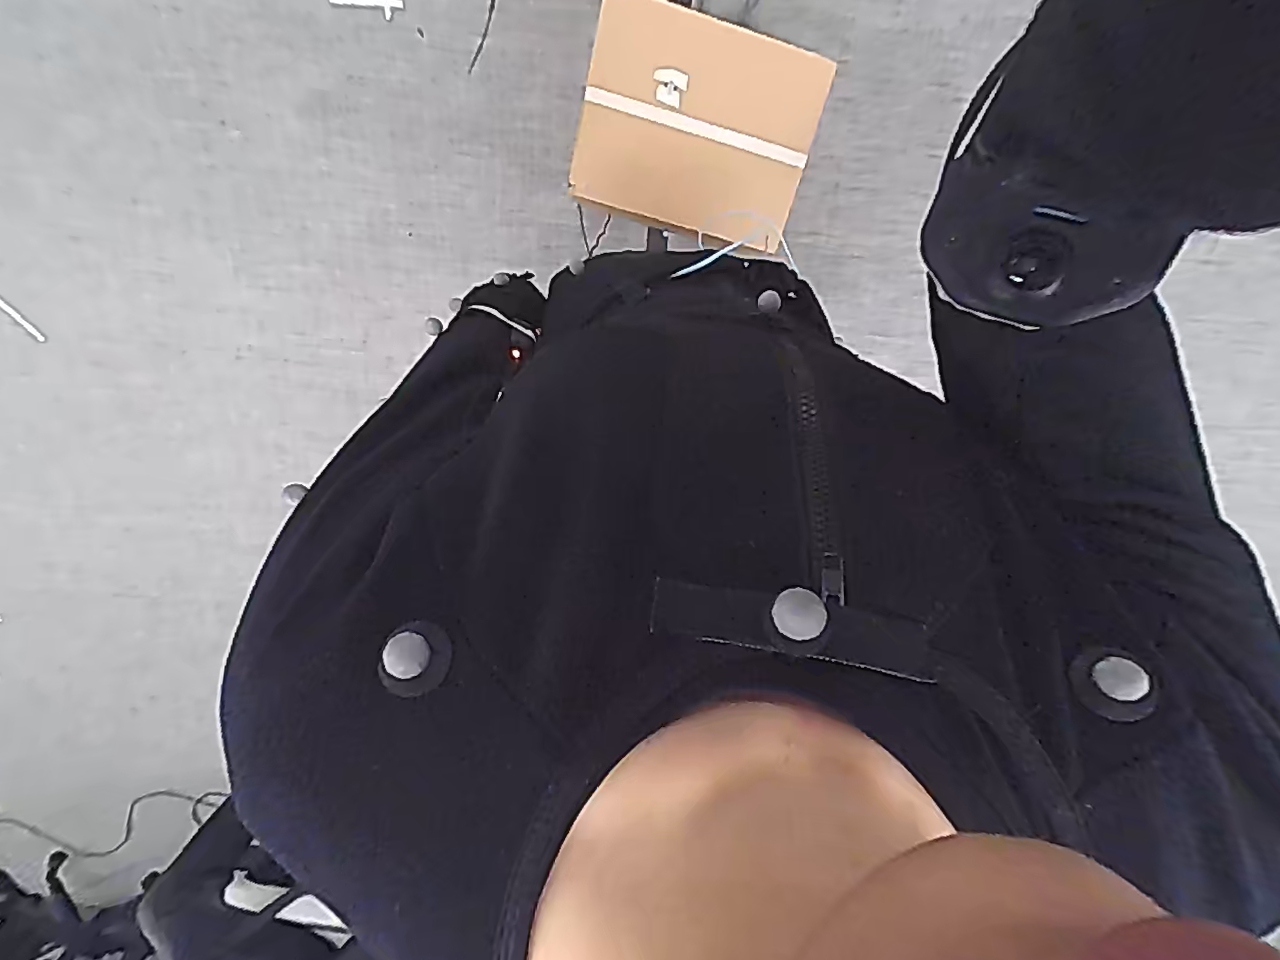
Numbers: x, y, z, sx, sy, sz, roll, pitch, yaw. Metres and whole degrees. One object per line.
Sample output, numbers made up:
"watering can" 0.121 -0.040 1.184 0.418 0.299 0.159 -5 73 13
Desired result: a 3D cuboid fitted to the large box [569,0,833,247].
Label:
"large box" 0.099 -0.678 1.084 0.408 0.320 0.320 14 111 -7
